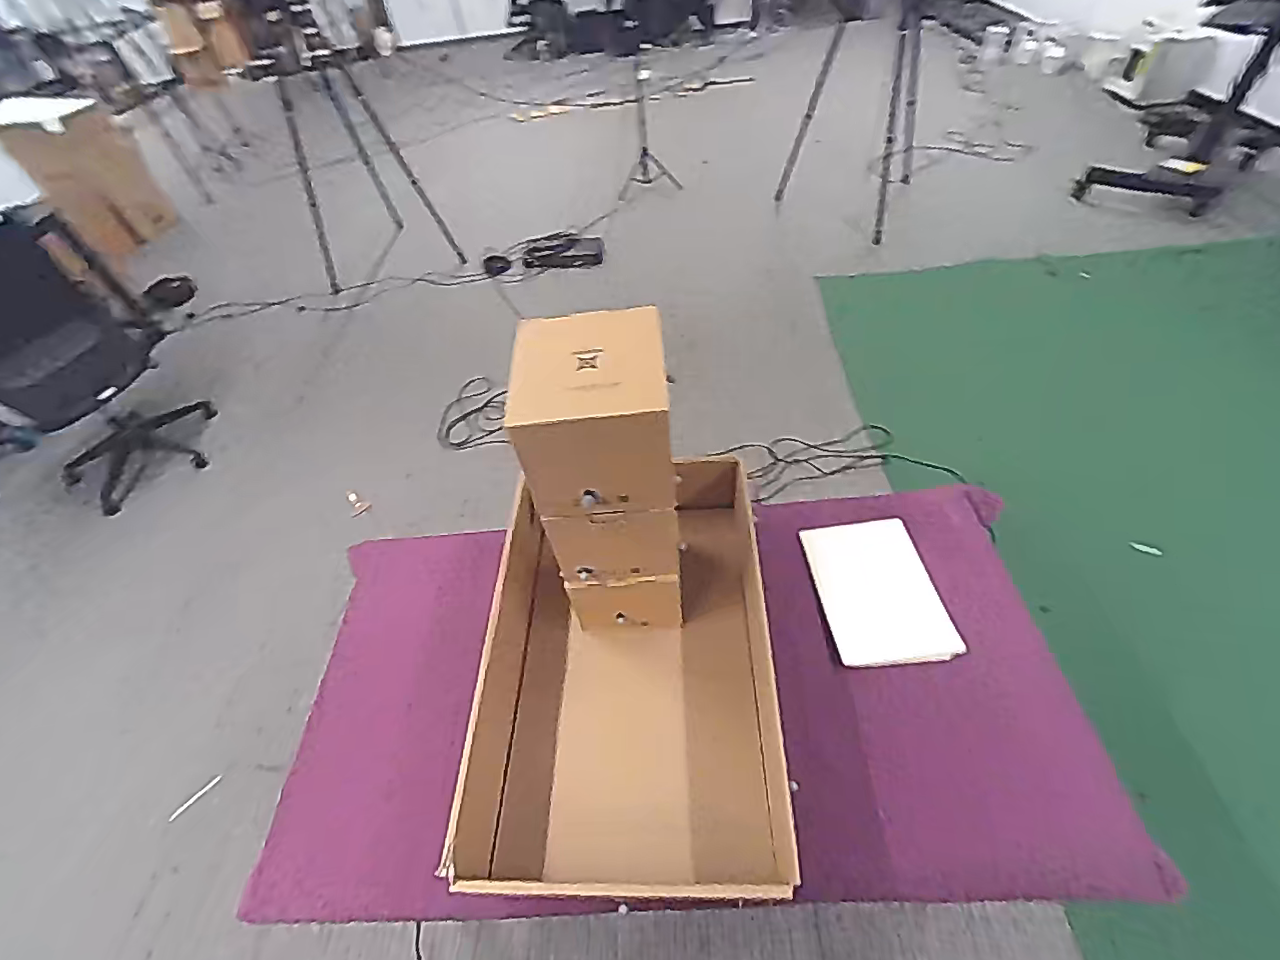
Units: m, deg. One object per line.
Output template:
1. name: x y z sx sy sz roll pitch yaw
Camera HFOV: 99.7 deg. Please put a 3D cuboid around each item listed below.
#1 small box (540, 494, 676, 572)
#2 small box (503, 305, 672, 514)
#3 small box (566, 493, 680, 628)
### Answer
1. small box: -0.038 0.019 0.772 0.168 0.176 0.179 -5 51 2
2. small box: -0.052 -0.081 0.644 0.168 0.176 0.179 -5 52 3
3. small box: -0.023 0.127 0.895 0.168 0.176 0.179 -5 52 3
